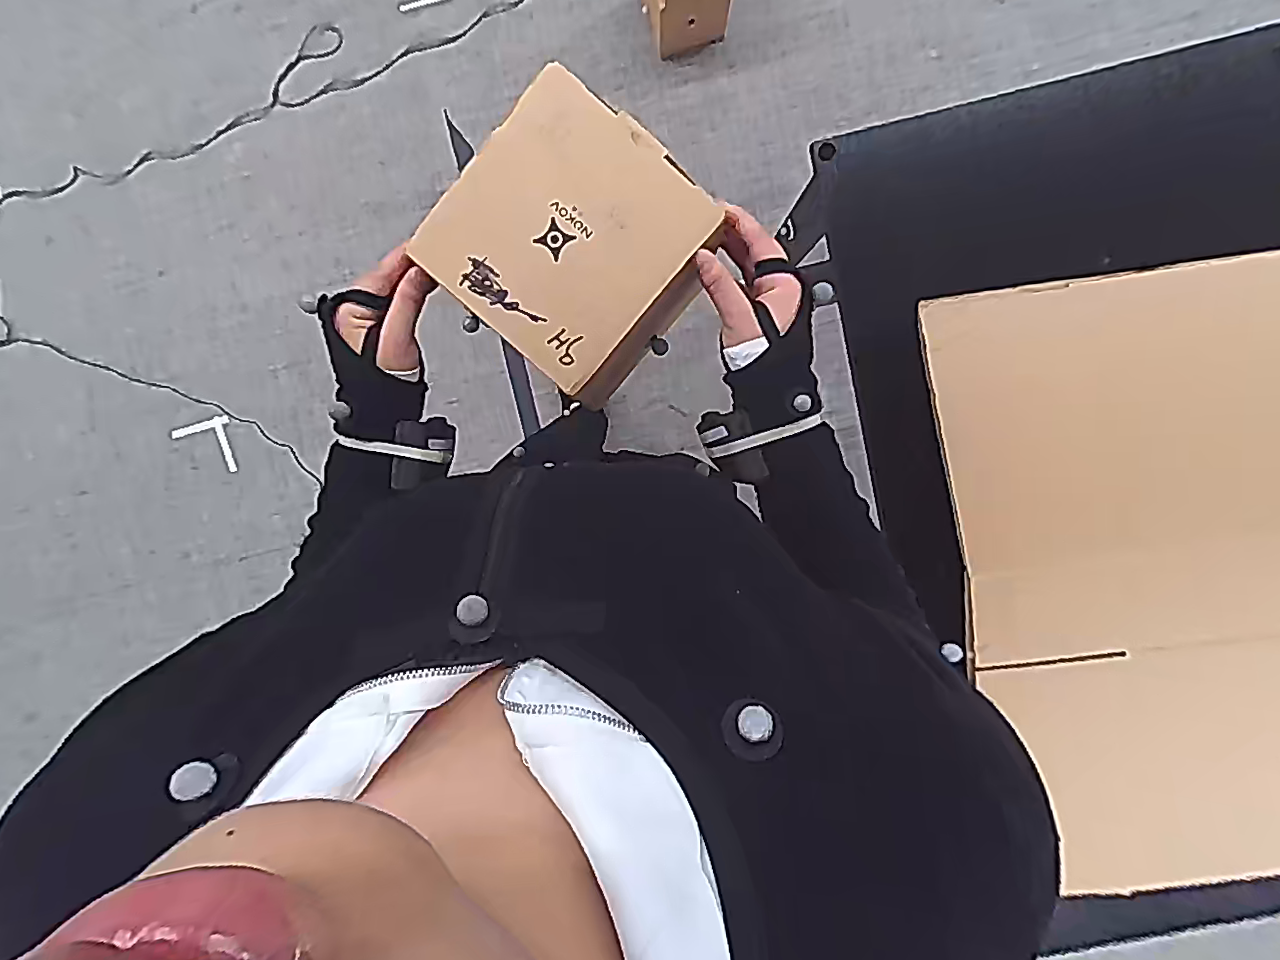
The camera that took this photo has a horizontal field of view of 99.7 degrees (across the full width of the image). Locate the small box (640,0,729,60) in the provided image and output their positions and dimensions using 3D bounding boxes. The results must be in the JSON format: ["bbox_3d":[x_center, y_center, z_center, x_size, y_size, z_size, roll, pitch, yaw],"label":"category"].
[{"bbox_3d":[0.101,-1.159,1.286,0.179,0.176,0.168,-17,95,4],"label":"small box"}]

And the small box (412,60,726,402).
[{"bbox_3d":[-0.052,-0.190,0.473,0.168,0.176,0.179,41,93,0],"label":"small box"}]

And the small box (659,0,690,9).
[{"bbox_3d":[0.103,-1.144,1.124,0.179,0.176,0.168,-20,96,3],"label":"small box"}]
